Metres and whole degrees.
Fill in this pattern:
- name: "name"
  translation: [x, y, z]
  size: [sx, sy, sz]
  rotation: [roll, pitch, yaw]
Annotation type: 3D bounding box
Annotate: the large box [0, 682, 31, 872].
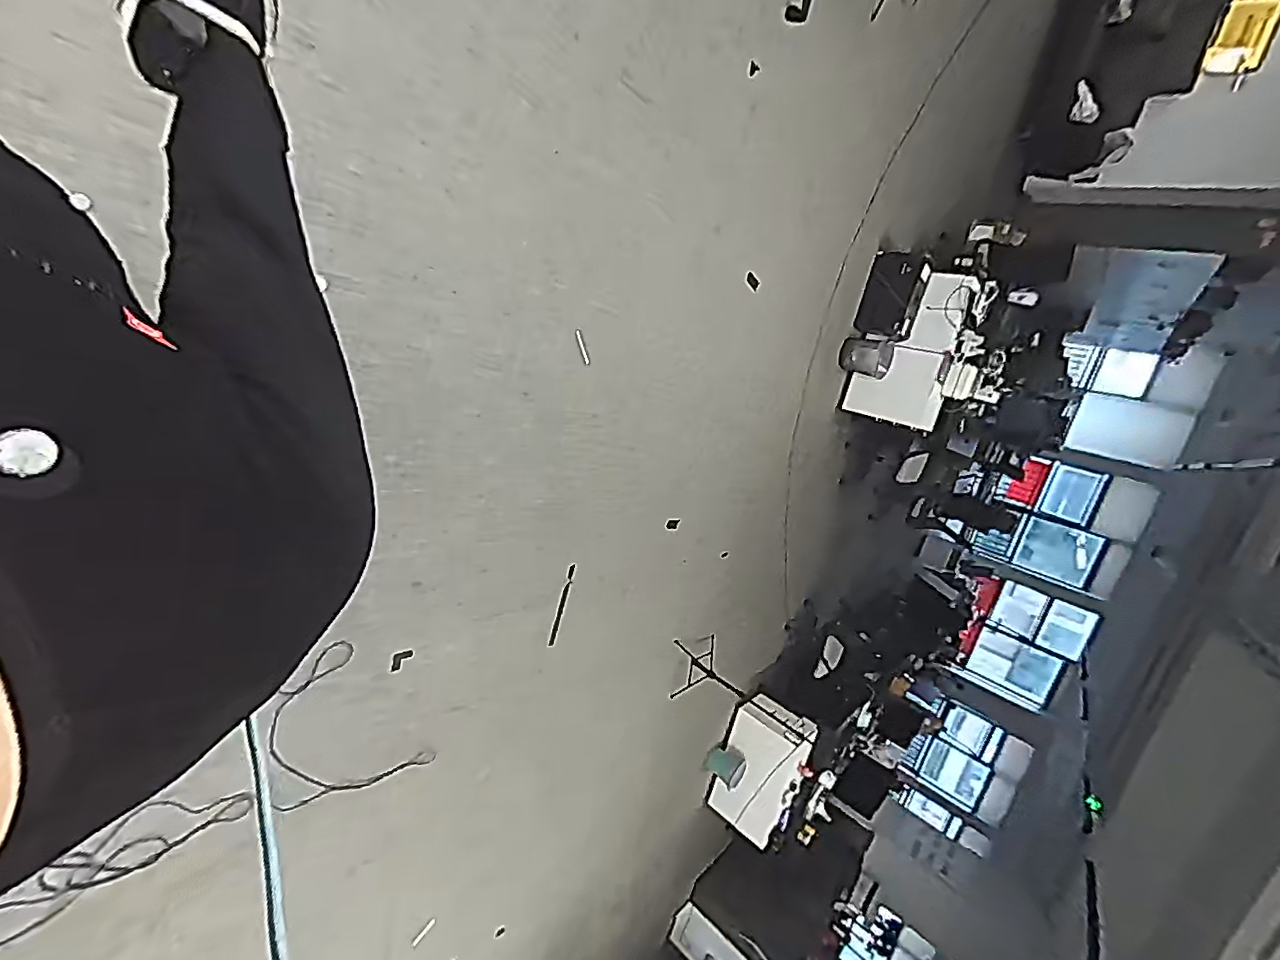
- name: "large box"
  translation: [-1.356, 0.549, 0.902]
  size: [0.408, 0.320, 0.320]
  rotation: [-12, 118, -49]
